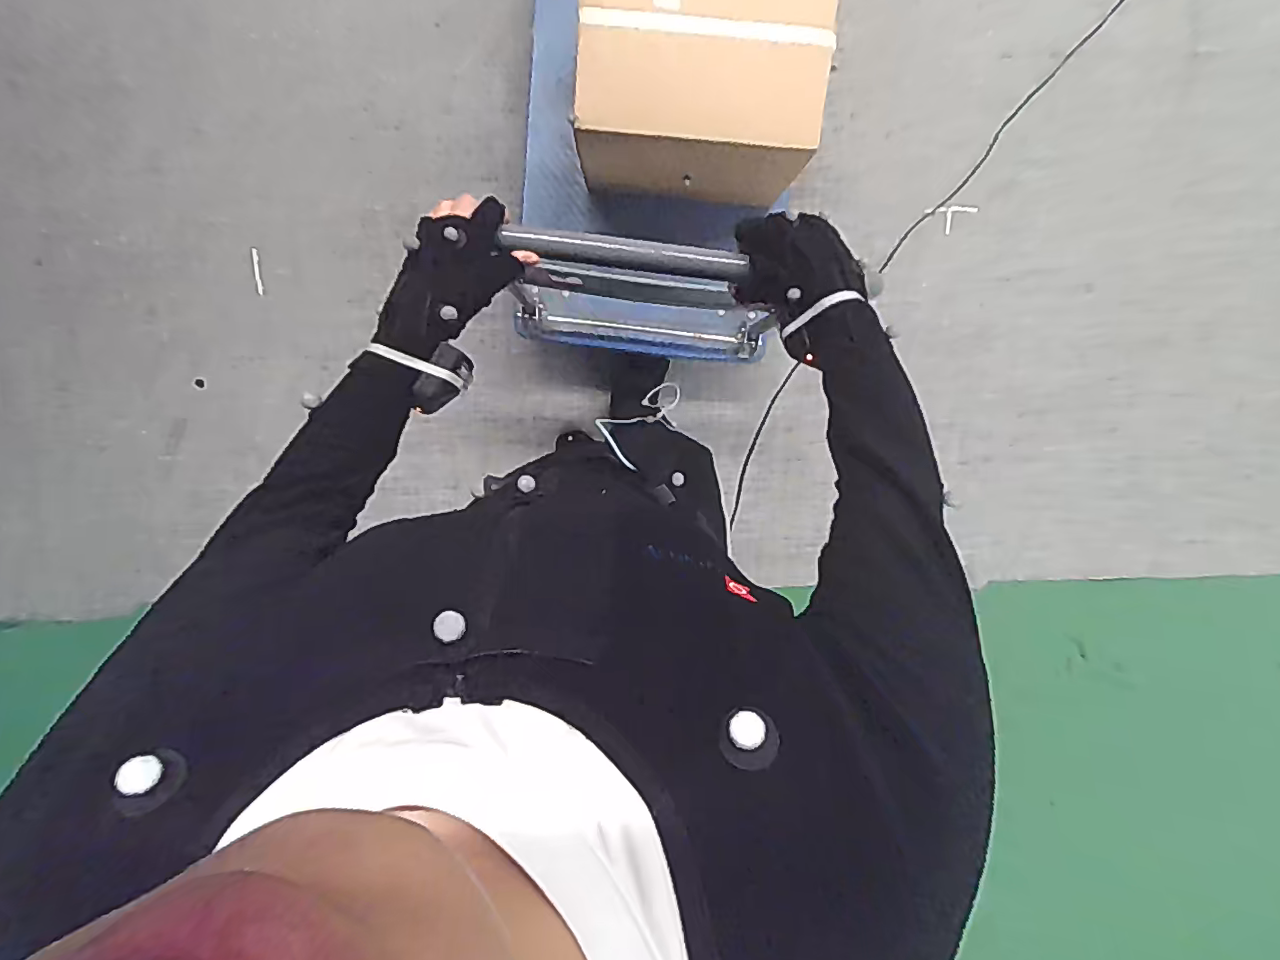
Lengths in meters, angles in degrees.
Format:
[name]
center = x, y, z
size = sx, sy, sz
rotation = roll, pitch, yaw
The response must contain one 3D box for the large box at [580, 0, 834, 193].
[large box]
center = 0.109, -0.749, 1.004
size = 0.408, 0.320, 0.320
rotation = 4, 101, 0
